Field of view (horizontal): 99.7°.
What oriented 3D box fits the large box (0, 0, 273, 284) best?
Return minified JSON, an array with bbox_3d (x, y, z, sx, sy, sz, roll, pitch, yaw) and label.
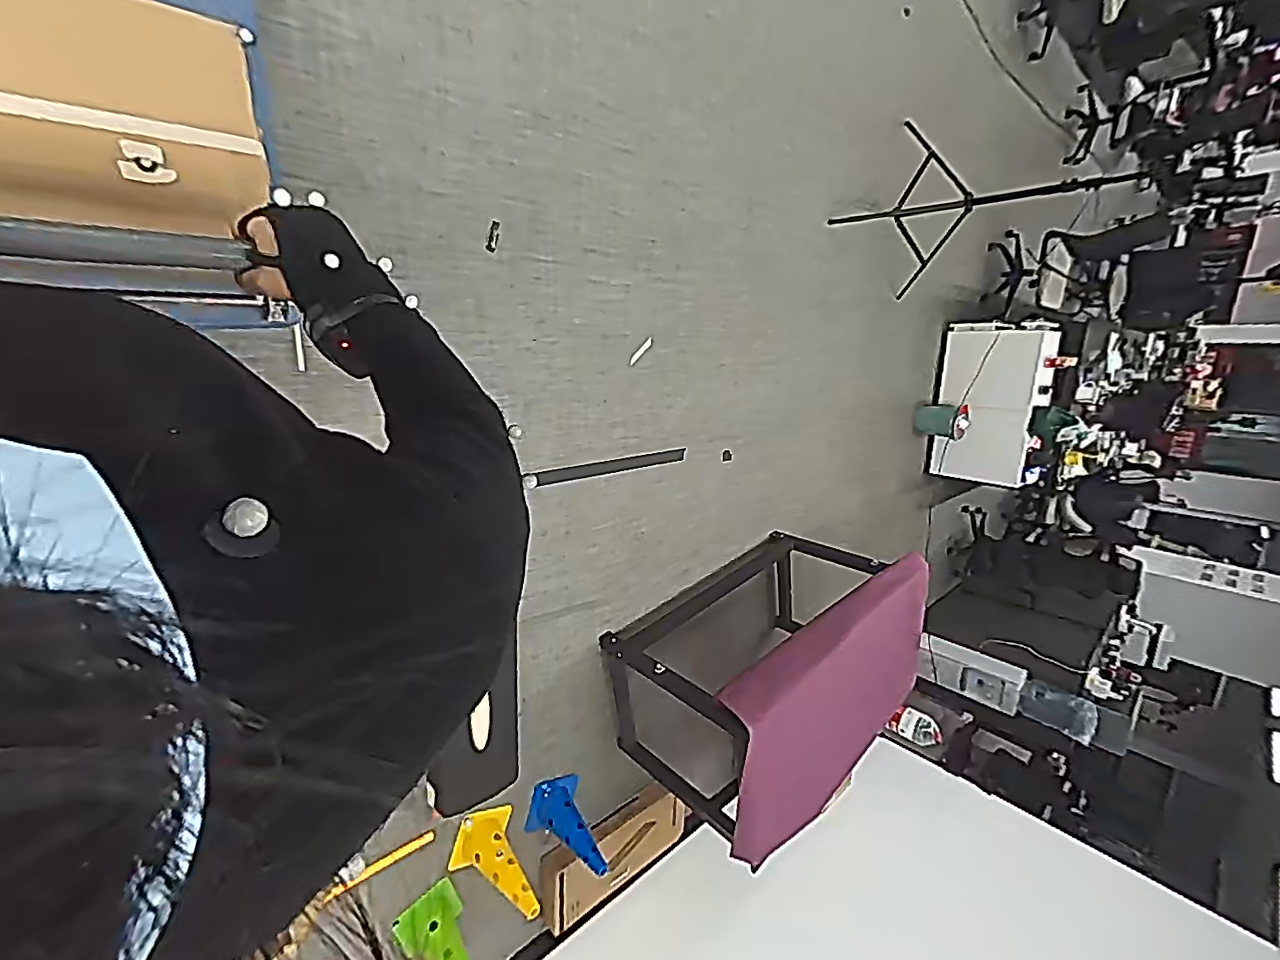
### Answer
[{"bbox_3d":[-0.813,-0.465,0.772,0.408,0.320,0.320,-13,109,-41],"label":"large box"}]
